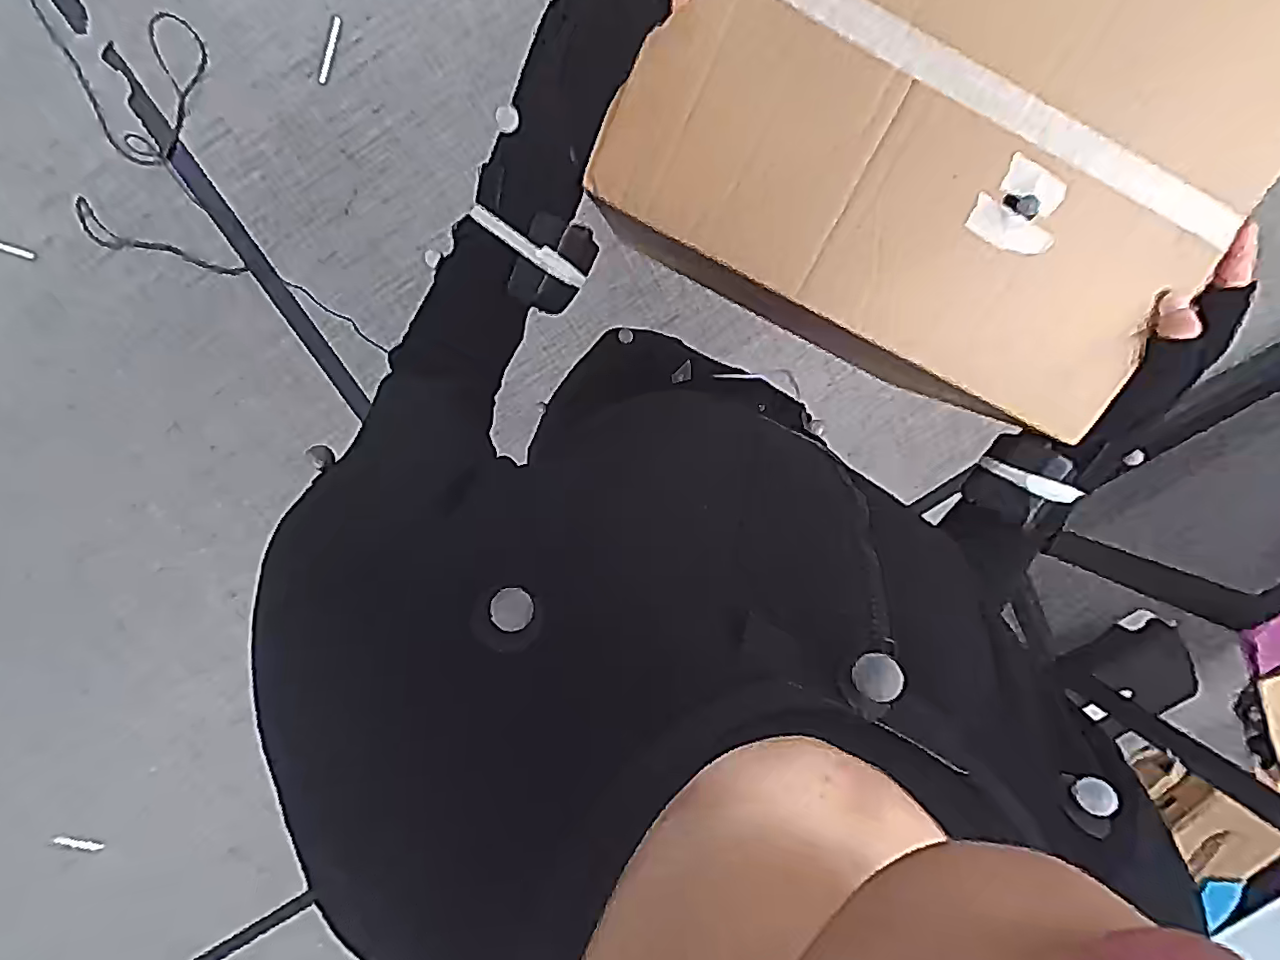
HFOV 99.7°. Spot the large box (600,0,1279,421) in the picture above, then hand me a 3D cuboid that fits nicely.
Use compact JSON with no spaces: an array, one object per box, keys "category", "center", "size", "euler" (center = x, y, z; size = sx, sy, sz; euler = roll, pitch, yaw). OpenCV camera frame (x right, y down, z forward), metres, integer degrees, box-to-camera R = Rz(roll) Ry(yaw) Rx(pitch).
[{"category":"large box","center":[0.215,-0.300,0.492],"size":[0.408,0.320,0.320],"euler":[26,108,-7]}]
